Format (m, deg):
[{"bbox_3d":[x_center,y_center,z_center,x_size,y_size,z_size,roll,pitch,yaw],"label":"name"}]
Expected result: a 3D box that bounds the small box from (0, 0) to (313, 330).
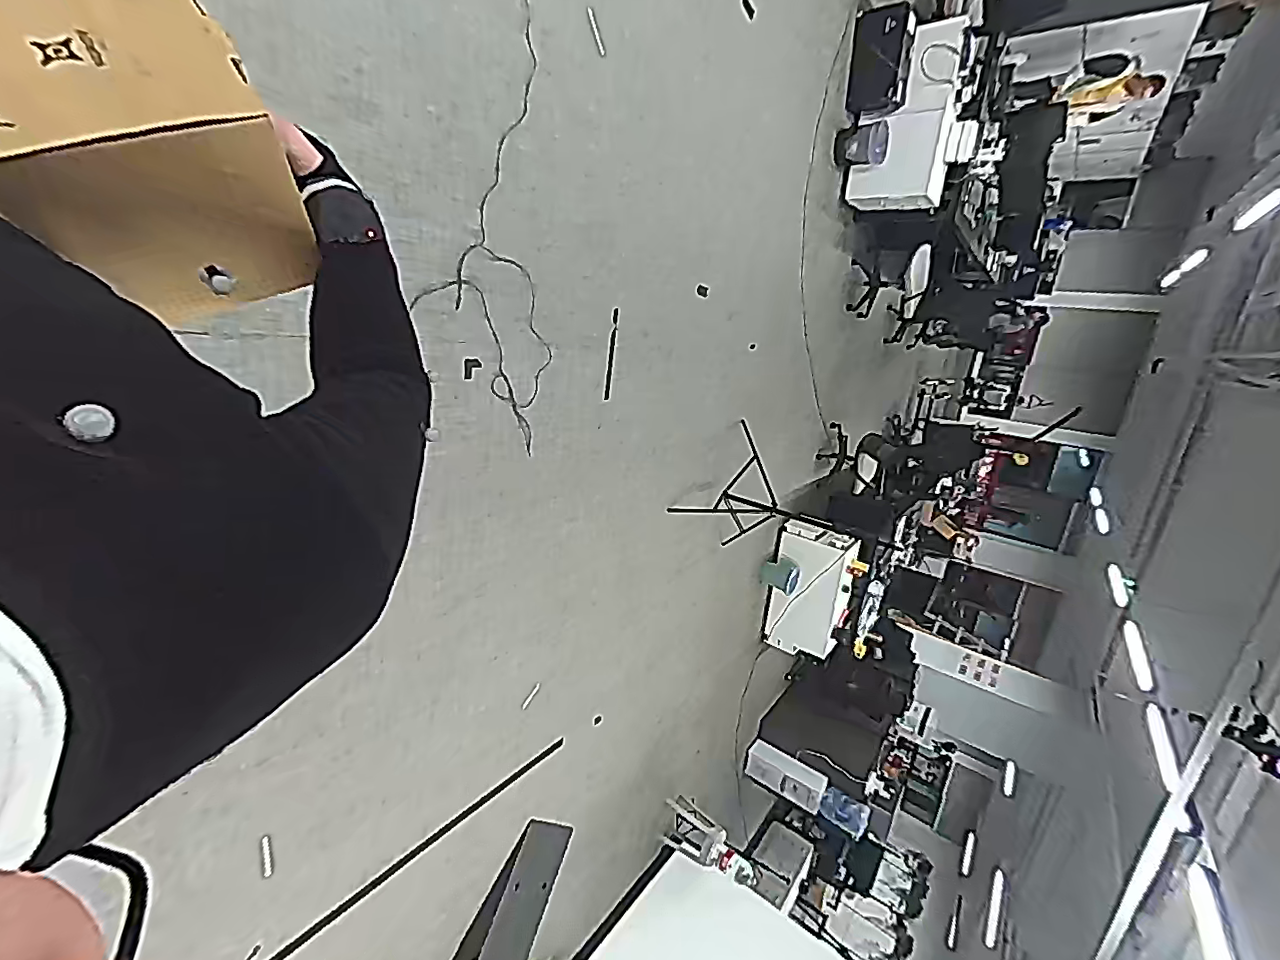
[{"bbox_3d":[-0.404,-0.259,0.451,0.179,0.168,0.176,-30,168,-25],"label":"small box"}]
